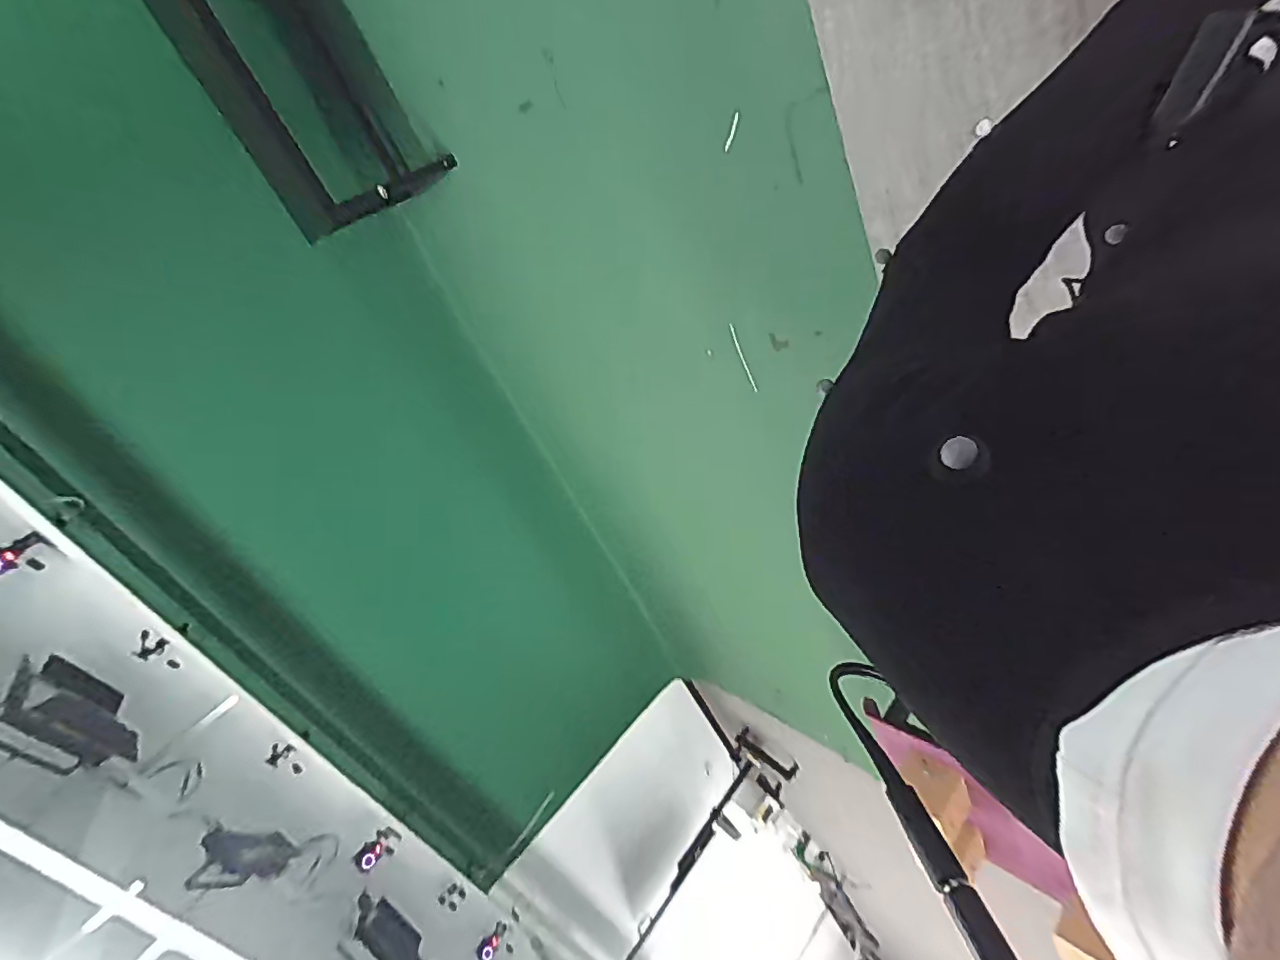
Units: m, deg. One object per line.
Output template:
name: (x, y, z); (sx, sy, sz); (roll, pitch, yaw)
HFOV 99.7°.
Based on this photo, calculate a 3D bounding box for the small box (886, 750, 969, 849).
small box: (0.908, 0.998, 1.700); (0.168, 0.176, 0.179); (9, 134, 51)

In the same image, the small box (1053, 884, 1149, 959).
small box: (1.296, 1.299, 1.516); (0.168, 0.176, 0.179); (6, 131, 54)

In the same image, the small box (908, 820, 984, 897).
small box: (1.046, 1.250, 1.838); (0.168, 0.176, 0.179); (10, 135, 51)
